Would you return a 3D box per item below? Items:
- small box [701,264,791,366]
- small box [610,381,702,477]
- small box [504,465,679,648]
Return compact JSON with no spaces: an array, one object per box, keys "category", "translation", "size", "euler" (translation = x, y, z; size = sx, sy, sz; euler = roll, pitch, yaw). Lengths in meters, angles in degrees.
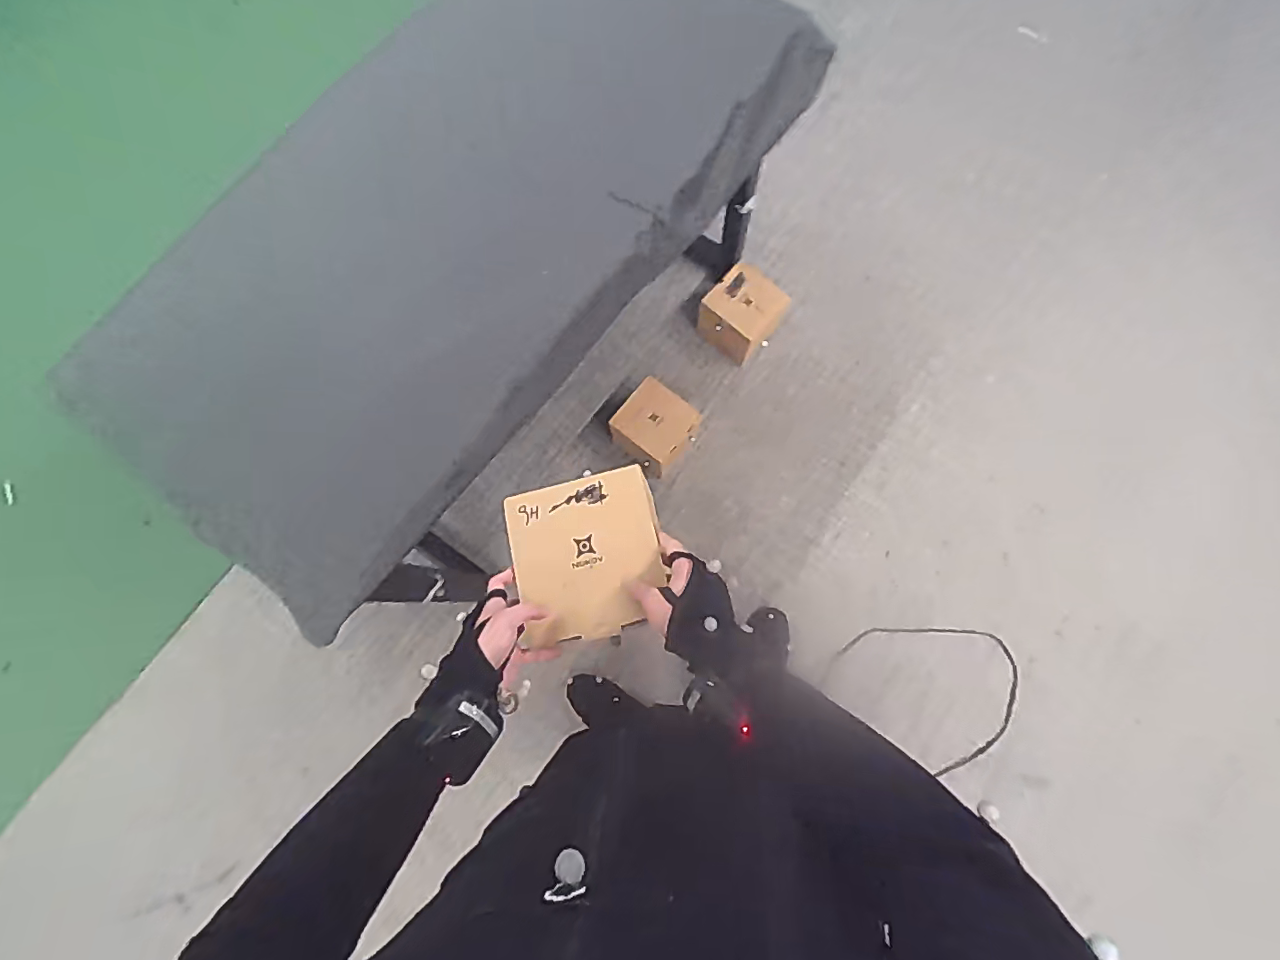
[{"category":"small box","translation":[0.283,-0.447,1.495],"size":[0.179,0.176,0.168],"euler":[41,82,11]},{"category":"small box","translation":[0.046,-0.126,1.438],"size":[0.179,0.176,0.168],"euler":[37,80,13]},{"category":"small box","translation":[-0.051,0.101,0.676],"size":[0.168,0.176,0.179],"euler":[-14,74,4]}]
